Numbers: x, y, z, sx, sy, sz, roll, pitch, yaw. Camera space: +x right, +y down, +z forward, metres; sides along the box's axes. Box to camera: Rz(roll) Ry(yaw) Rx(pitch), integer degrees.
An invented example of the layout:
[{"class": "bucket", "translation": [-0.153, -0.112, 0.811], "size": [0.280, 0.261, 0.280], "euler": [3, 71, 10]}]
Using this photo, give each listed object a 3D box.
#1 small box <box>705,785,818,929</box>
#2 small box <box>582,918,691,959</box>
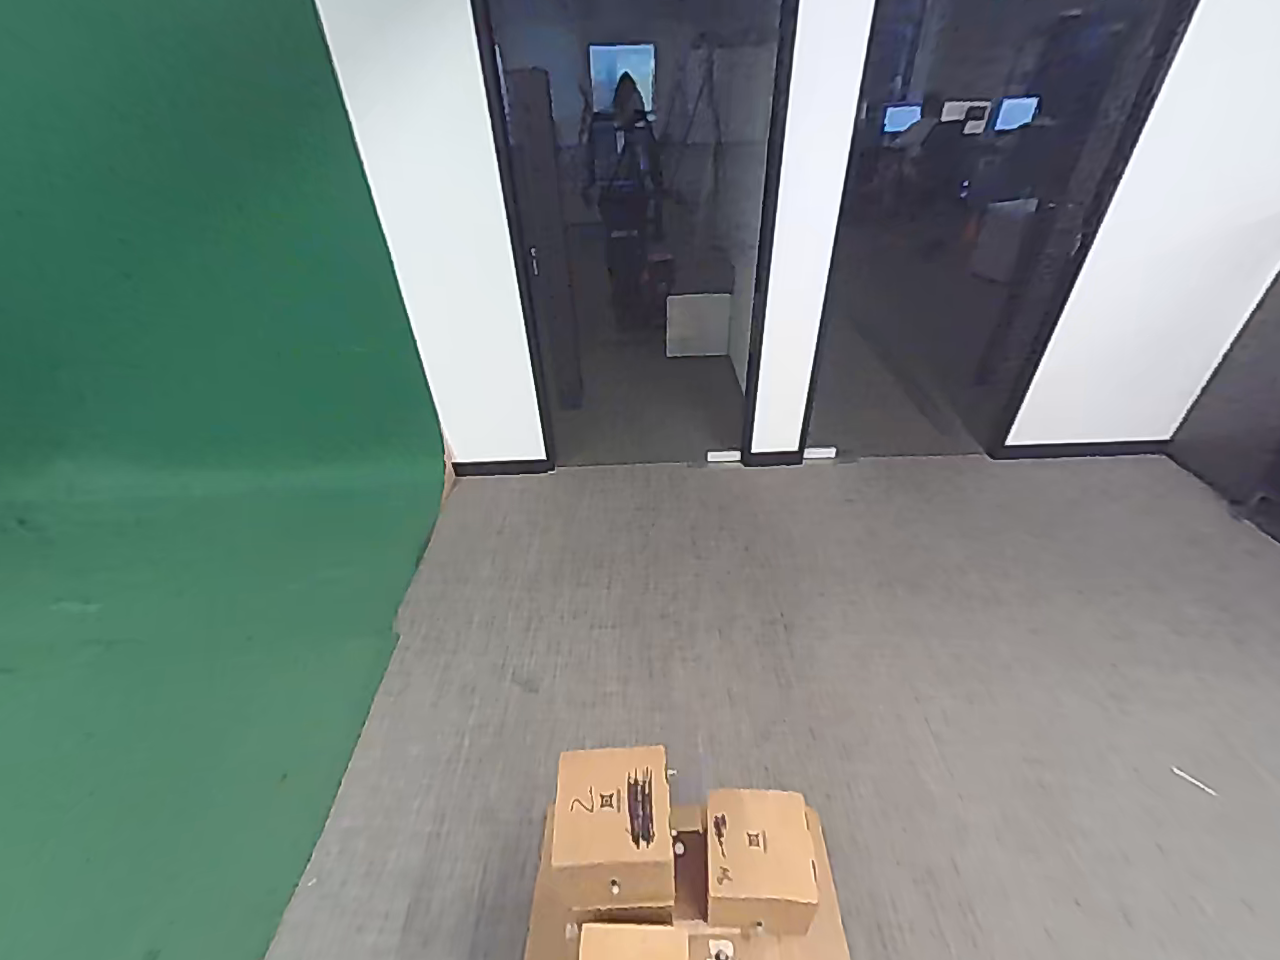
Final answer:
[{"class": "small box", "translation": [0.206, 0.673, 0.965], "size": [0.179, 0.176, 0.168], "euler": [0, 37, 6]}, {"class": "small box", "translation": [-0.007, 0.796, 0.816], "size": [0.168, 0.176, 0.179], "euler": [0, 39, 2]}]
